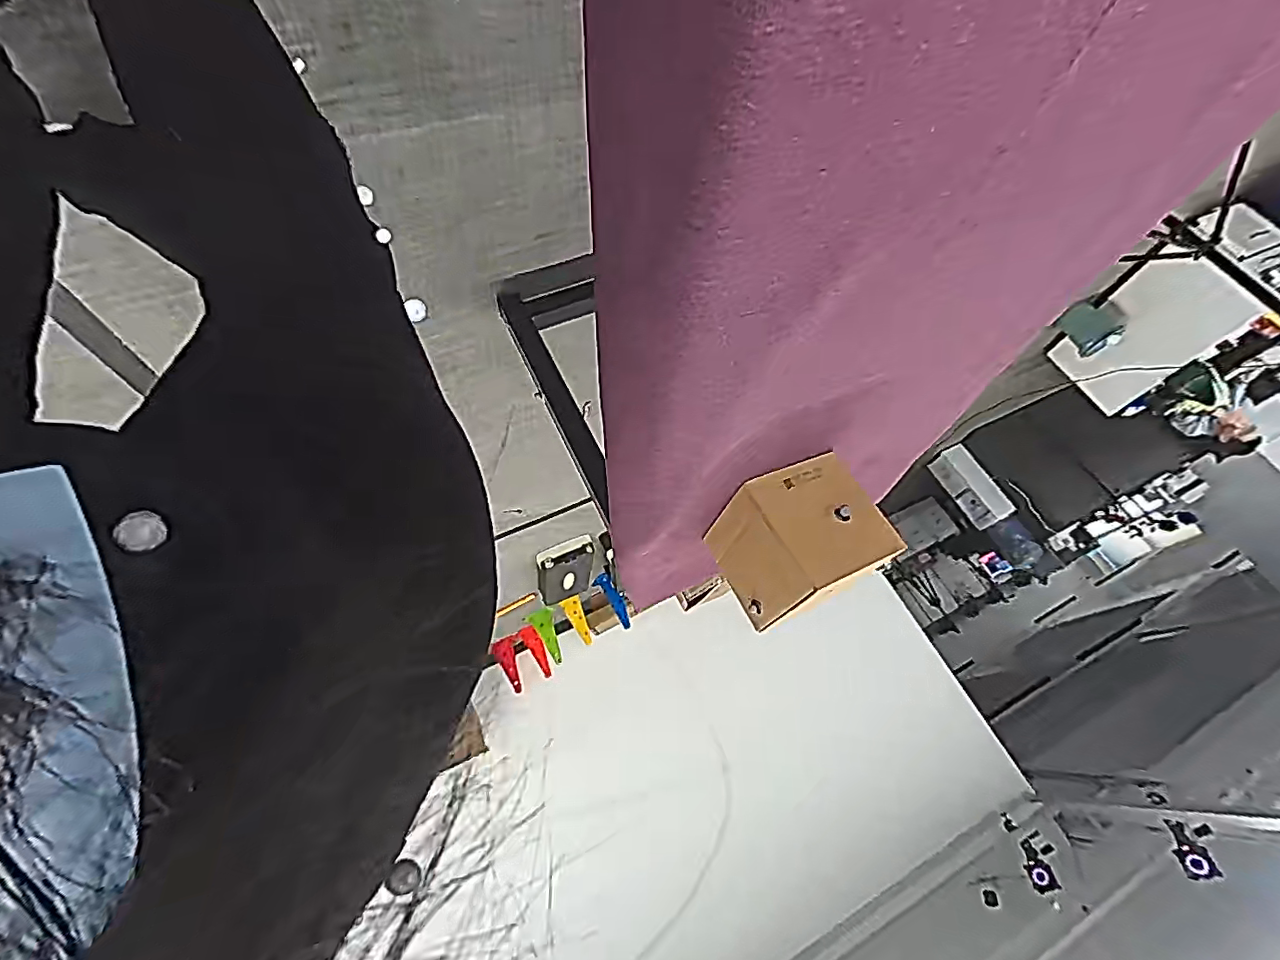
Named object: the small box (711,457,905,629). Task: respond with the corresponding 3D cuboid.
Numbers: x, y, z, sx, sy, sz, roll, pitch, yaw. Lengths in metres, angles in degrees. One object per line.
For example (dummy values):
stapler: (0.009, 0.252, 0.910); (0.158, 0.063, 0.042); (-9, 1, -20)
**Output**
small box: (0.226, 0.083, 0.778); (0.168, 0.176, 0.179); (-18, 155, -25)
